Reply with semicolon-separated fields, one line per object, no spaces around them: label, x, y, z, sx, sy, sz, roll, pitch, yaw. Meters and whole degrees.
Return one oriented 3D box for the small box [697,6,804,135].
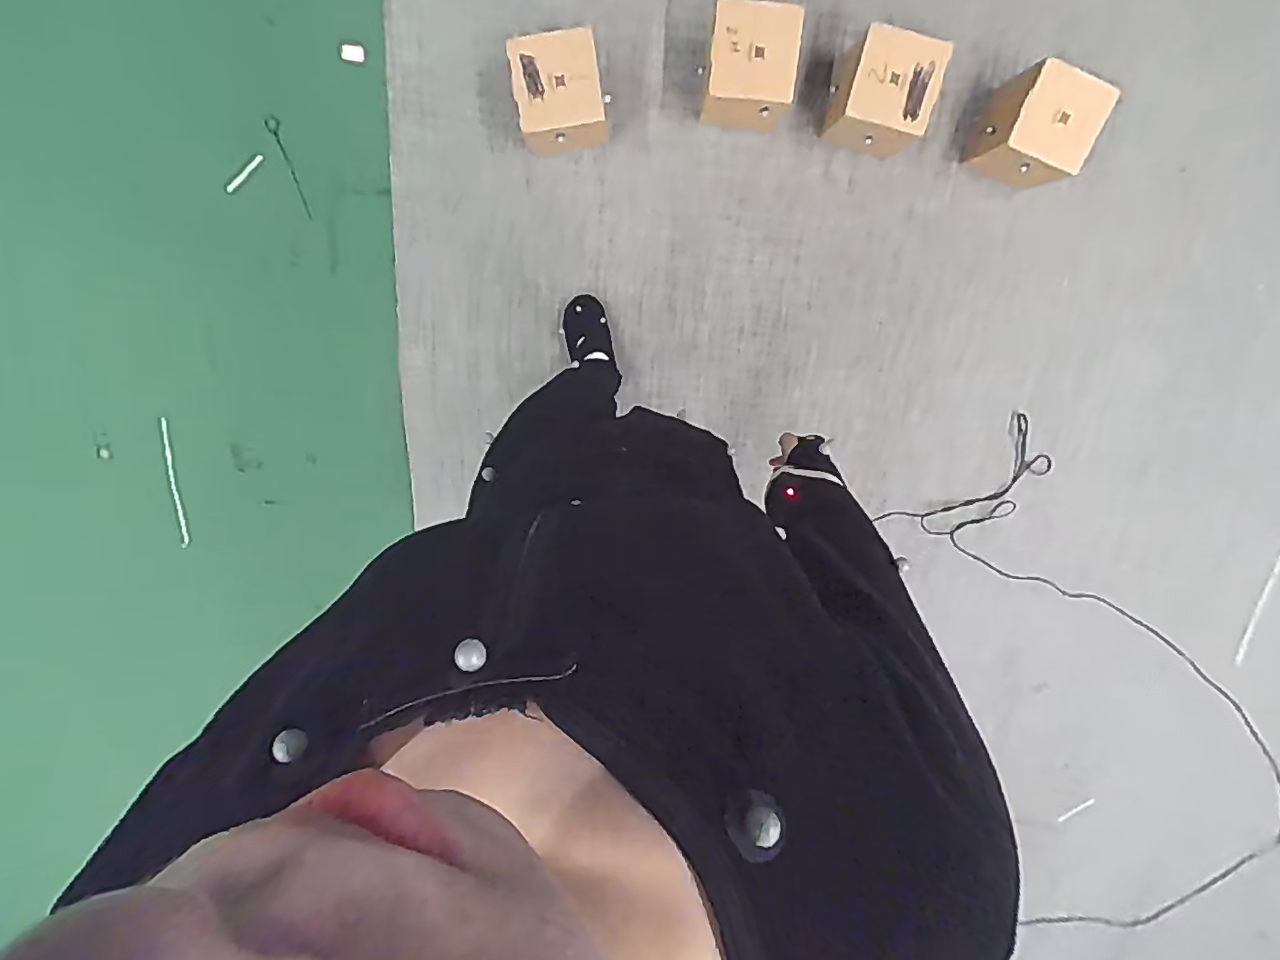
small box;0.226;-0.857;1.149;0.179;0.176;0.168;5;106;-2

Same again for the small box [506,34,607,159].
small box;-0.170;-0.812;1.162;0.179;0.176;0.168;-7;107;1

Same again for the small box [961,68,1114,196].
small box;0.856;-0.749;1.187;0.179;0.176;0.168;19;107;-7
